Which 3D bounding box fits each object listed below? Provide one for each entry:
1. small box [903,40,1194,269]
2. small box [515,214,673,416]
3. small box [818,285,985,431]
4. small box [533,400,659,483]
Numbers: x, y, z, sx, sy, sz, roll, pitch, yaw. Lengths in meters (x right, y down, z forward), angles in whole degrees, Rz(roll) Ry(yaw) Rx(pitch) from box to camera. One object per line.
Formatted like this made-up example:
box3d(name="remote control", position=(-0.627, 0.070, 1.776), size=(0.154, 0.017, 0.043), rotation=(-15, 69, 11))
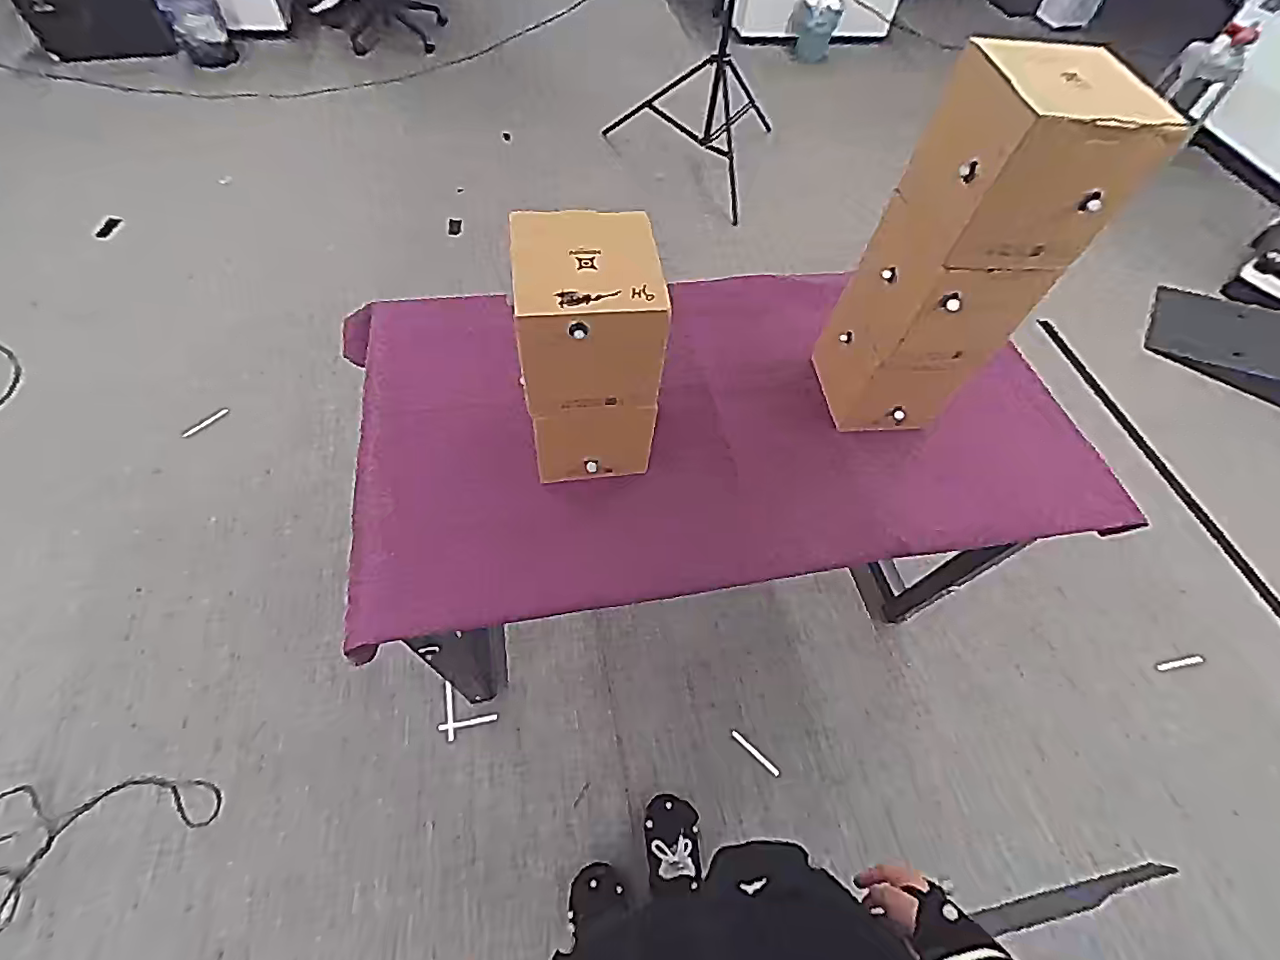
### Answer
box3d(name="small box", position=(0.439, -0.364, 0.619), size=(0.168, 0.176, 0.179), rotation=(0, 58, -6))
box3d(name="small box", position=(-0.063, -0.200, 0.666), size=(0.168, 0.176, 0.179), rotation=(-5, 59, -8))
box3d(name="small box", position=(0.417, -0.200, 0.902), size=(0.168, 0.176, 0.179), rotation=(-3, 59, -6))
box3d(name="small box", position=(-0.075, -0.116, 0.806), size=(0.168, 0.176, 0.179), rotation=(-6, 60, -9))
